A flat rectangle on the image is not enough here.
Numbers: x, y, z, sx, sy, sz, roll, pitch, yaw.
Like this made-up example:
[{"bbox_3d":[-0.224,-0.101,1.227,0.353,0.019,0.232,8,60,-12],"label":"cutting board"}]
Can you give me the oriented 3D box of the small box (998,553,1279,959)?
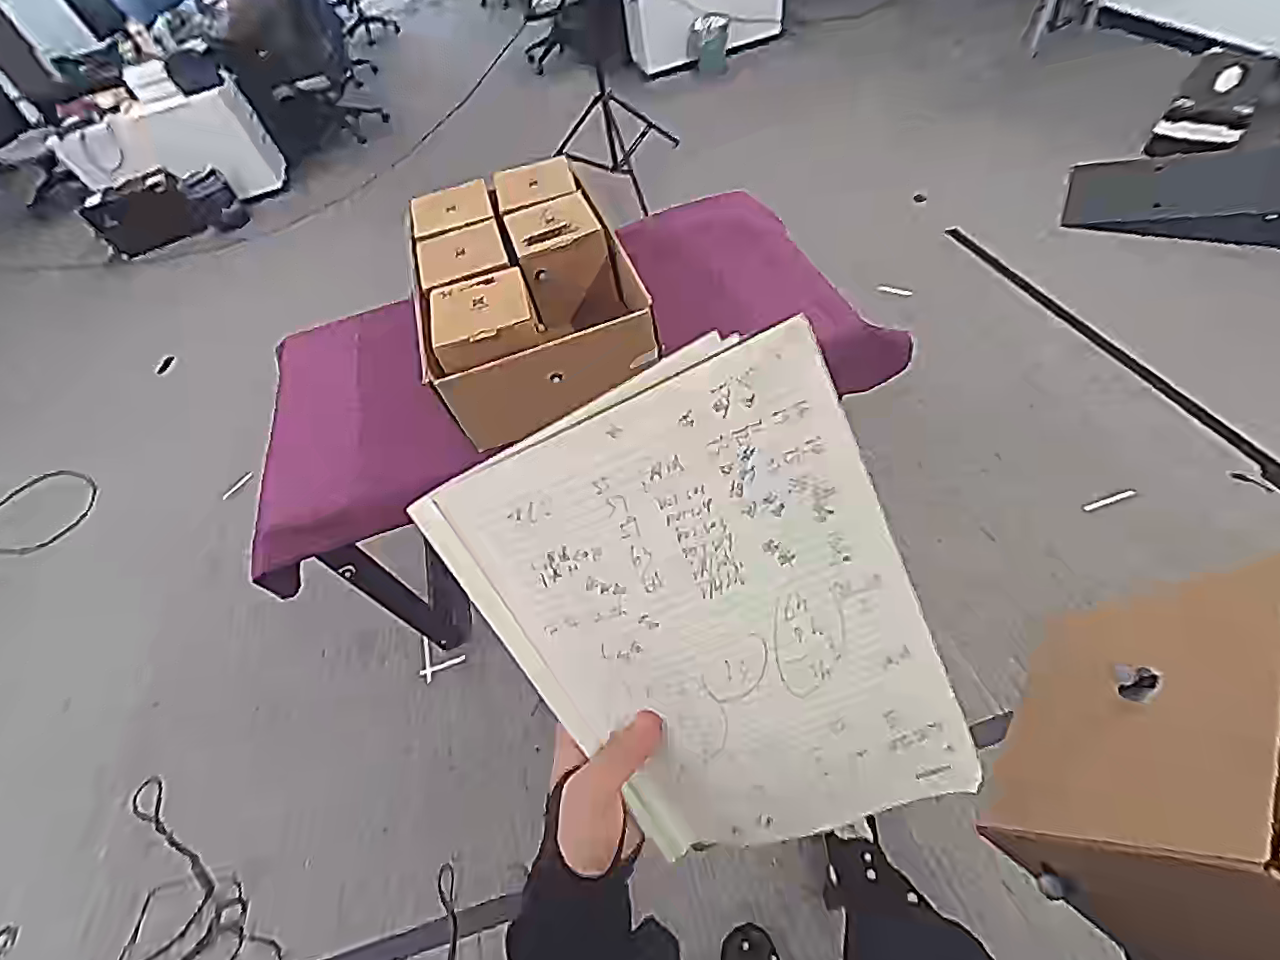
[{"bbox_3d":[0.342,0.174,0.294,0.168,0.176,0.179,38,62,12],"label":"small box"}]
